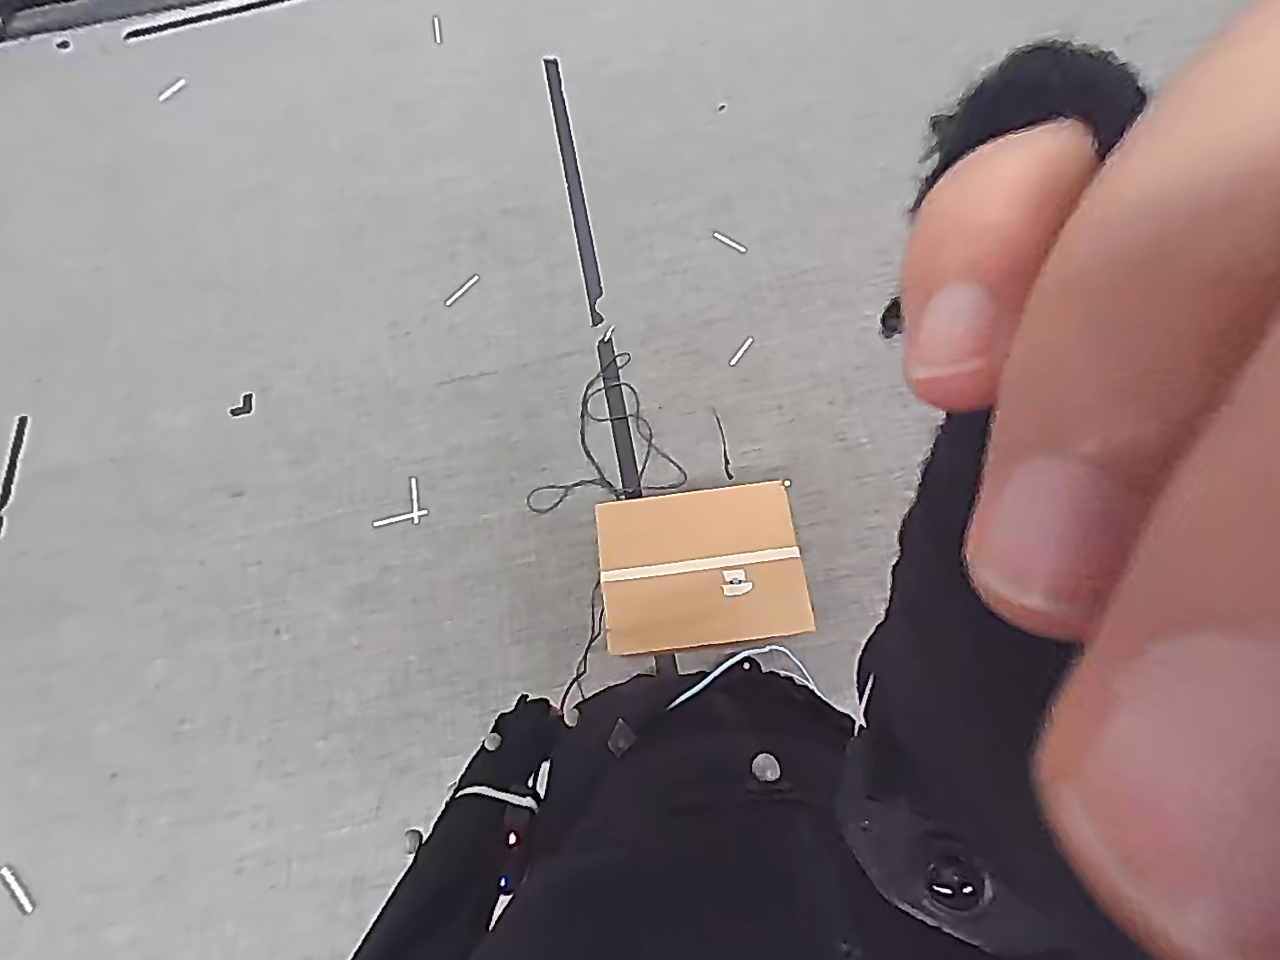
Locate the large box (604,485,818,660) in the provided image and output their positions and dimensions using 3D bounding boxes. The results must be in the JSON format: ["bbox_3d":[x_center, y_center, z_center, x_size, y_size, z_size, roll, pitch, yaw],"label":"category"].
[{"bbox_3d":[0.145,0.228,1.245,0.408,0.320,0.320,-7,71,2],"label":"large box"}]
